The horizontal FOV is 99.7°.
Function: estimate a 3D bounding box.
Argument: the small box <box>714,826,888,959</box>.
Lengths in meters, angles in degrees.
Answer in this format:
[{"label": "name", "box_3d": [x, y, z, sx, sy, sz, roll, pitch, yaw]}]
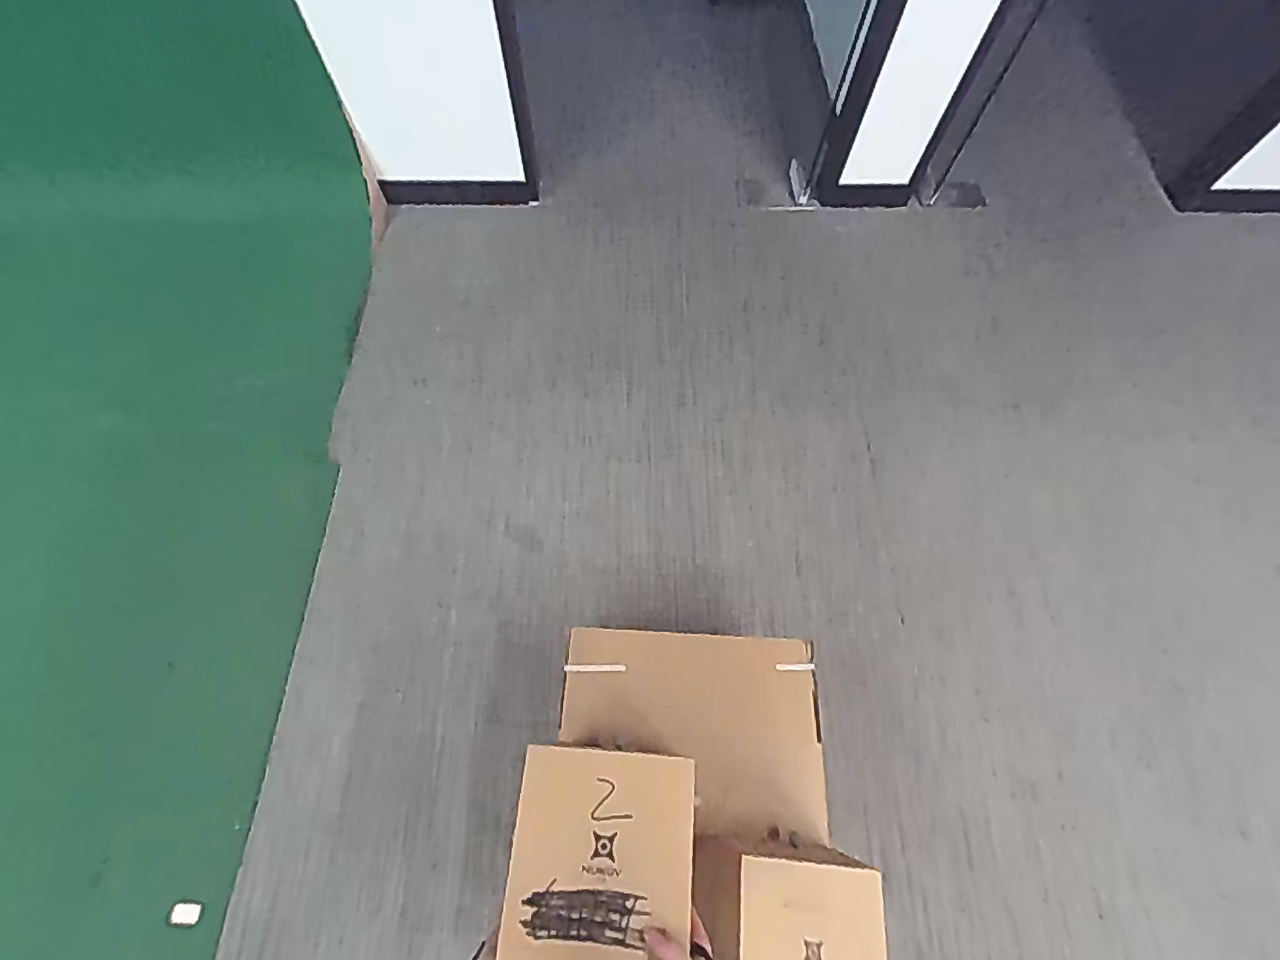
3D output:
[{"label": "small box", "box_3d": [0.188, 0.547, 0.663, 0.168, 0.176, 0.179, 7, 63, 1]}]

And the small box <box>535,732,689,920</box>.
[{"label": "small box", "box_3d": [-0.031, 0.440, 0.711, 0.168, 0.176, 0.179, 6, 64, 2]}]
